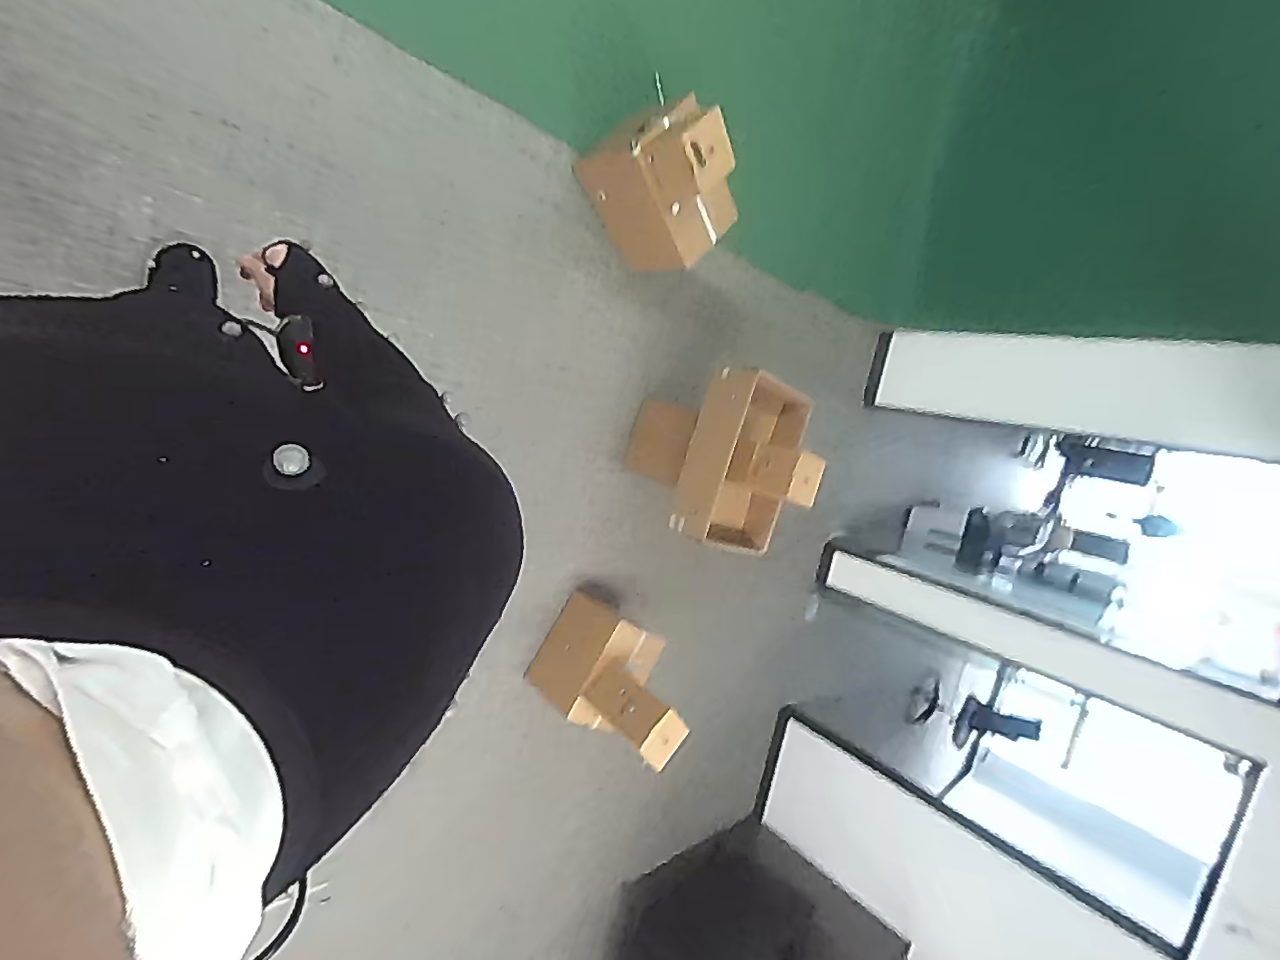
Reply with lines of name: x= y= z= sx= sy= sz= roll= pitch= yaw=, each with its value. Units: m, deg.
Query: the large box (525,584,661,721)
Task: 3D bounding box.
large box: x=-0.188 y=0.695 z=2.180 sx=0.320 sy=0.320 sz=0.408 roll=38 pitch=76 yaw=-44

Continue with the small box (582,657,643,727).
small box: x=-0.079 y=0.777 z=1.965 sx=0.168 sy=0.176 sz=0.179 roll=-46 pitch=130 yaw=-23

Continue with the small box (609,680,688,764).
small box: x=0.029 y=0.819 z=1.845 sx=0.168 sy=0.176 sz=0.179 roll=-46 pitch=128 yaw=-22

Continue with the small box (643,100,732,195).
small box: x=0.132 y=-0.955 z=1.568 sx=0.179 sy=0.176 sz=0.168 roll=-49 pitch=132 yaw=-20

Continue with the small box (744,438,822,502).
small box: x=0.487 y=-0.038 z=1.844 sx=0.179 sy=0.176 sz=0.168 roll=17 pitch=91 yaw=-44
